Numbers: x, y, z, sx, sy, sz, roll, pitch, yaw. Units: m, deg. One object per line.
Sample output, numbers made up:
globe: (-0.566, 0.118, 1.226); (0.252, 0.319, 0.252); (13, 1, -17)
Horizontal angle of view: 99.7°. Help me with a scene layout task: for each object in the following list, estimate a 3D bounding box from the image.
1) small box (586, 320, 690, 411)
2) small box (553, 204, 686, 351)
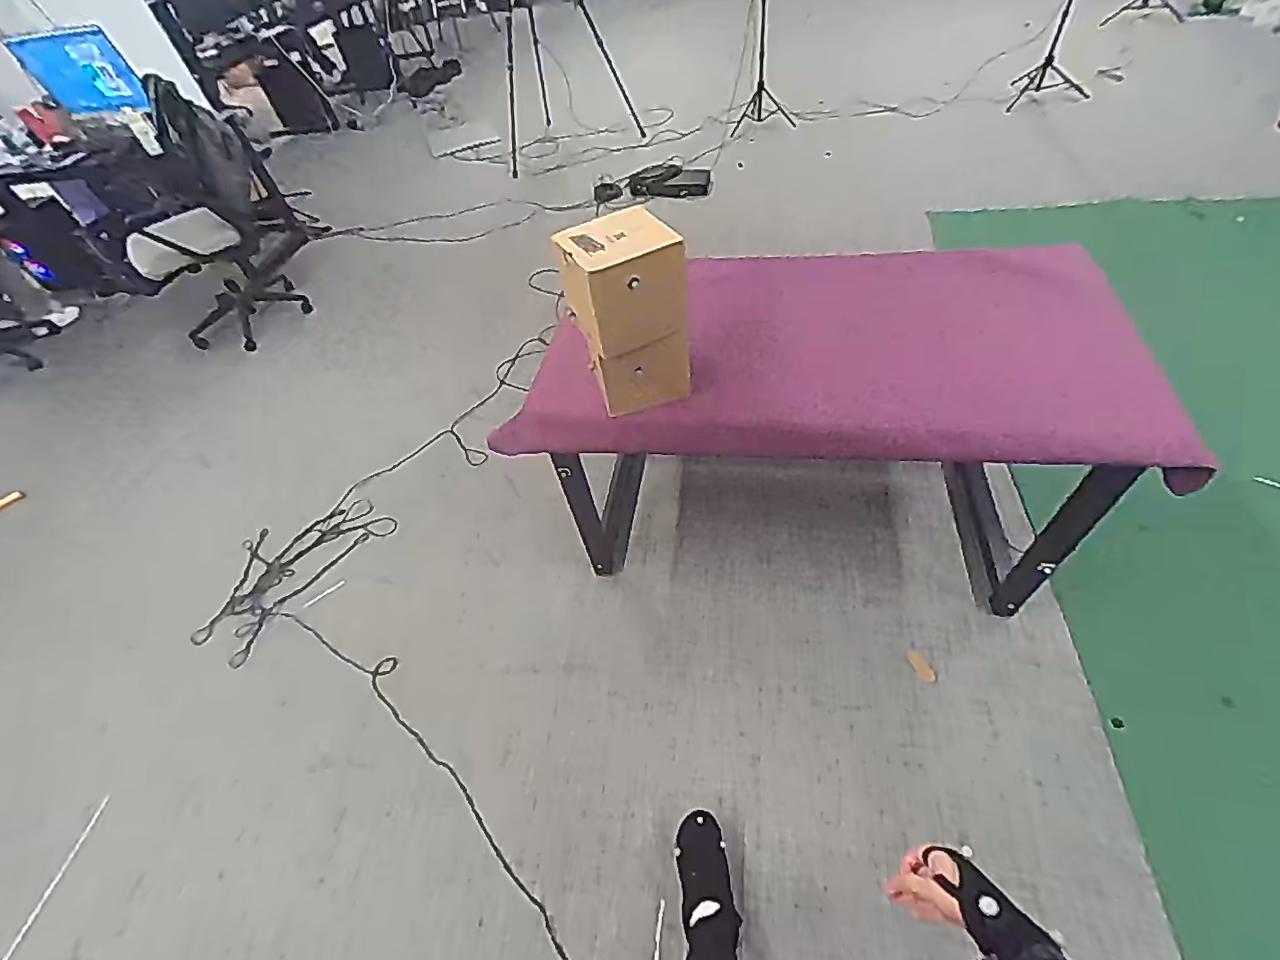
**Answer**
small box: (-0.006, -0.264, 1.097); (0.179, 0.176, 0.168); (-16, 50, -4)
small box: (-0.030, -0.357, 0.961); (0.179, 0.176, 0.168); (-24, 51, -13)
